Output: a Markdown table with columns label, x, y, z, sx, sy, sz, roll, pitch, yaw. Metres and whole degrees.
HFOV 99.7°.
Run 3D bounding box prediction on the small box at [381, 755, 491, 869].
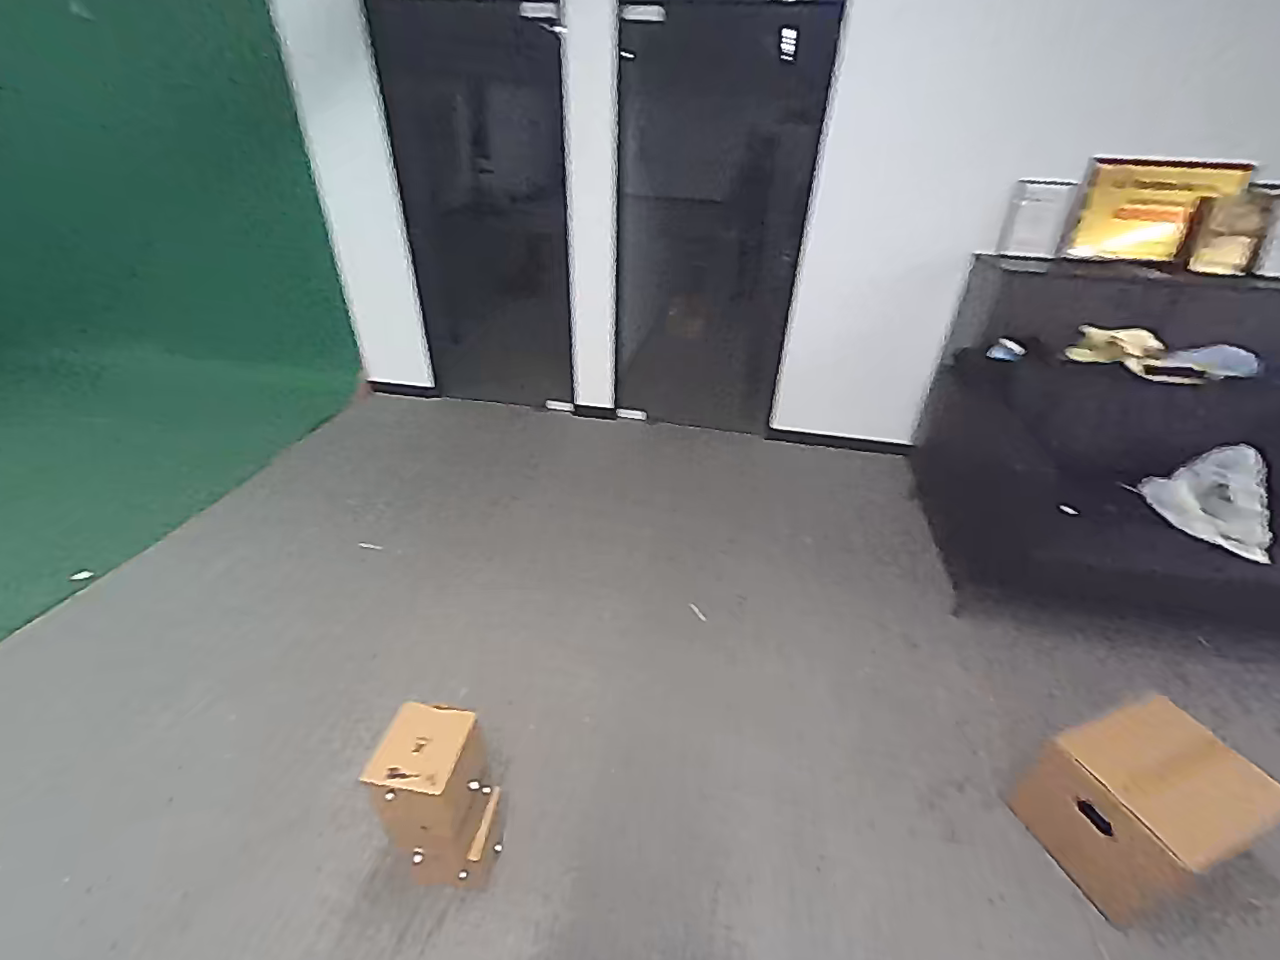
| label | x | y | z | sx | sy | sz | roll | pitch | yaw |
| --- | --- | --- | --- | --- | --- | --- | --- | --- | --- |
| small box | -0.448 | 0.731 | 1.221 | 0.168 | 0.176 | 0.179 | 7 | 34 | 7 |

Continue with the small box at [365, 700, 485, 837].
| label | x | y | z | sx | sy | sz | roll | pitch | yaw |
| --- | --- | --- | --- | --- | --- | --- | --- | --- | --- |
| small box | -0.435 | 0.598 | 1.127 | 0.168 | 0.176 | 0.179 | 7 | 32 | 7 |
